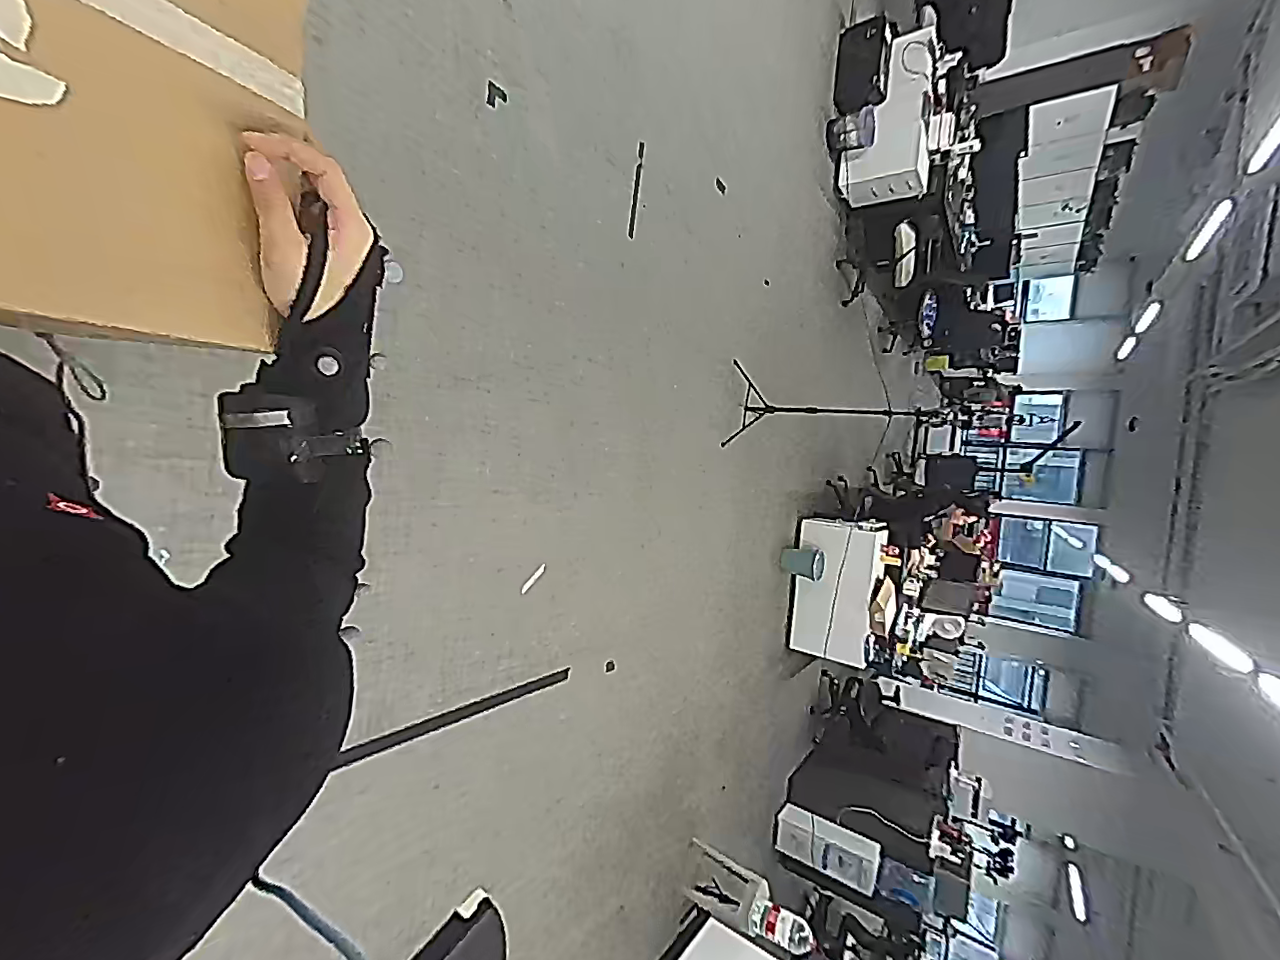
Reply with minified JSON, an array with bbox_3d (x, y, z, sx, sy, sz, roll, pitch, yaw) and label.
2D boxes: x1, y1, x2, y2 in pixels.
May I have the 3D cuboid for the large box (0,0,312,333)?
[{"bbox_3d":[-0.445,-0.263,0.249,0.408,0.320,0.320,-3,103,-61],"label":"large box"}]
